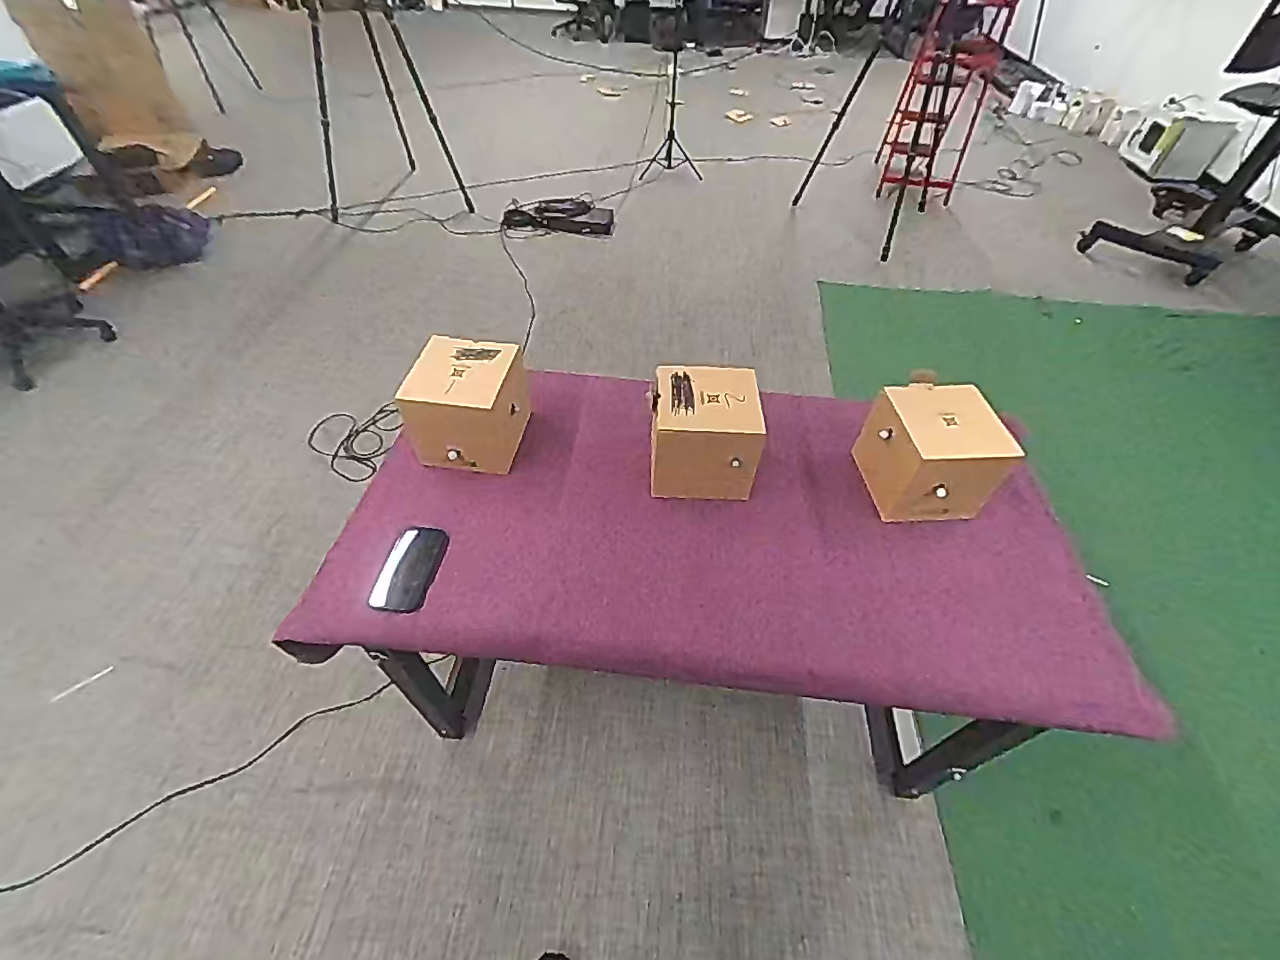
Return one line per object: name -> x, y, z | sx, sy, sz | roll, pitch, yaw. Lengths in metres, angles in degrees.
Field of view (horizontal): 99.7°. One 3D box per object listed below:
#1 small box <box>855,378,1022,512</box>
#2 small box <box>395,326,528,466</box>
small box -> 0.499, -0.055, 0.936 | 0.168, 0.176, 0.179 | -2, 49, -3
small box -> -0.308, -0.151, 0.981 | 0.168, 0.176, 0.179 | 7, 52, 4
